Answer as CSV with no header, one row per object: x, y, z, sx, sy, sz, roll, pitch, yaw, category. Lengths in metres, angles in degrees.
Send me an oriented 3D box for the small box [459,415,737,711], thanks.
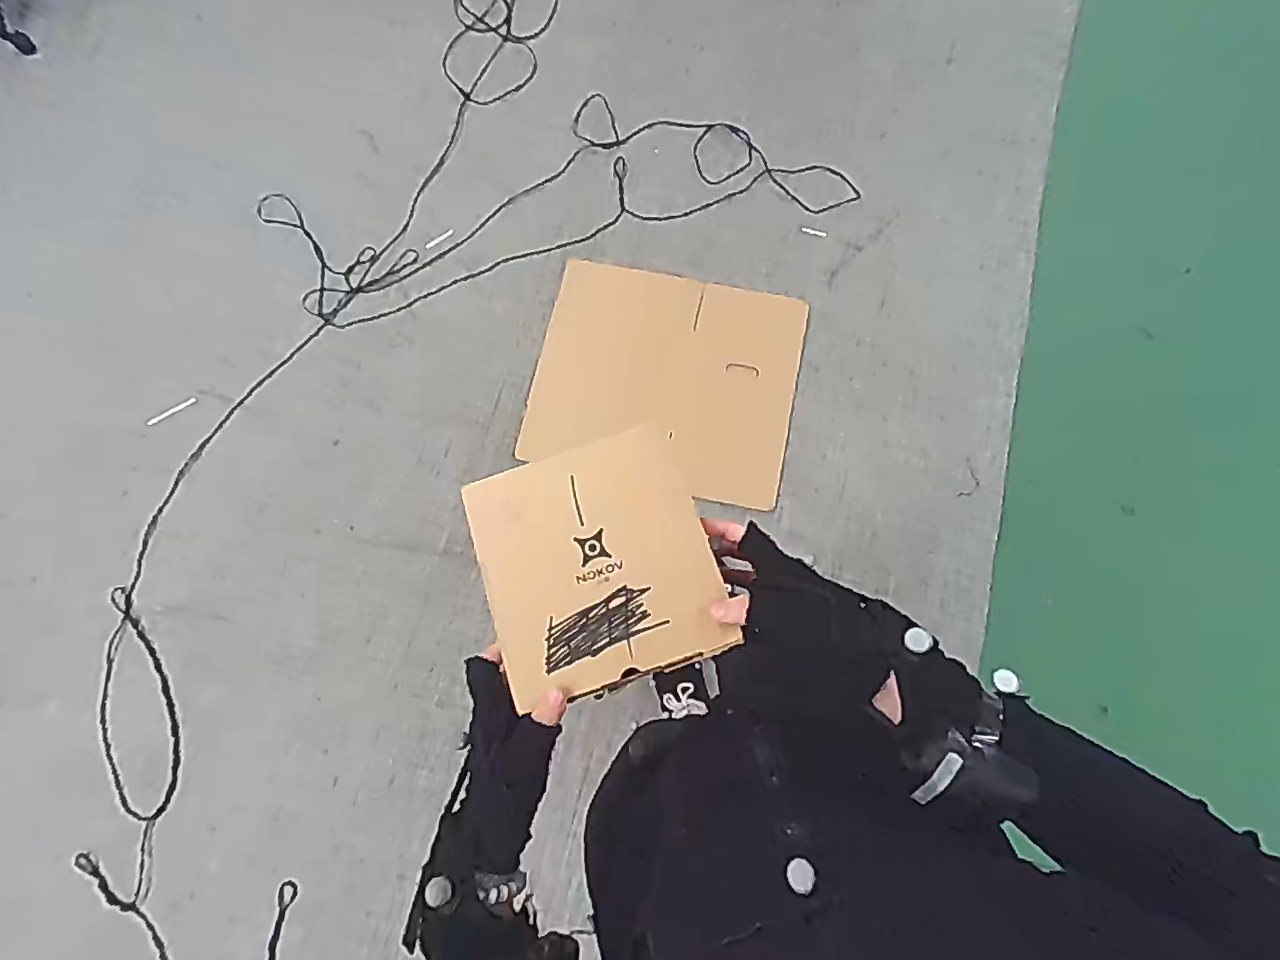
-0.028,0.073,0.468,0.168,0.176,0.179,-20,75,-1,small box
